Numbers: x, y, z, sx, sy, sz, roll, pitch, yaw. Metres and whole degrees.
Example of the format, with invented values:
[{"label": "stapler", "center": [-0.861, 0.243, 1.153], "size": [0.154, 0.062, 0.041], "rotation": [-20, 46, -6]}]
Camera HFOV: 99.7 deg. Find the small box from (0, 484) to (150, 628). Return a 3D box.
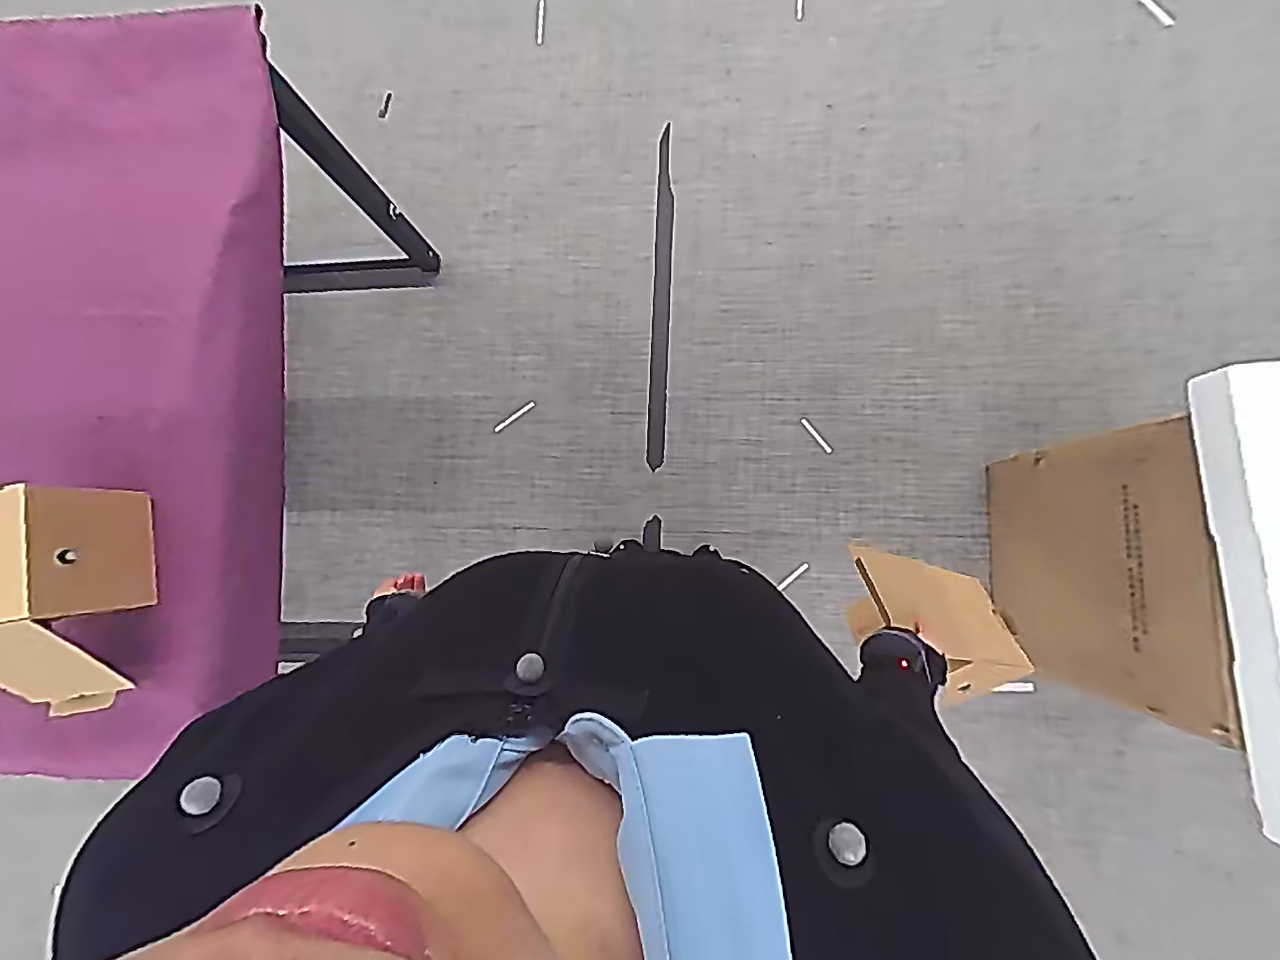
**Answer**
[{"label": "small box", "center": [-0.836, 0.109, 0.755], "size": [0.168, 0.176, 0.179], "rotation": [-10, 83, 3]}]
